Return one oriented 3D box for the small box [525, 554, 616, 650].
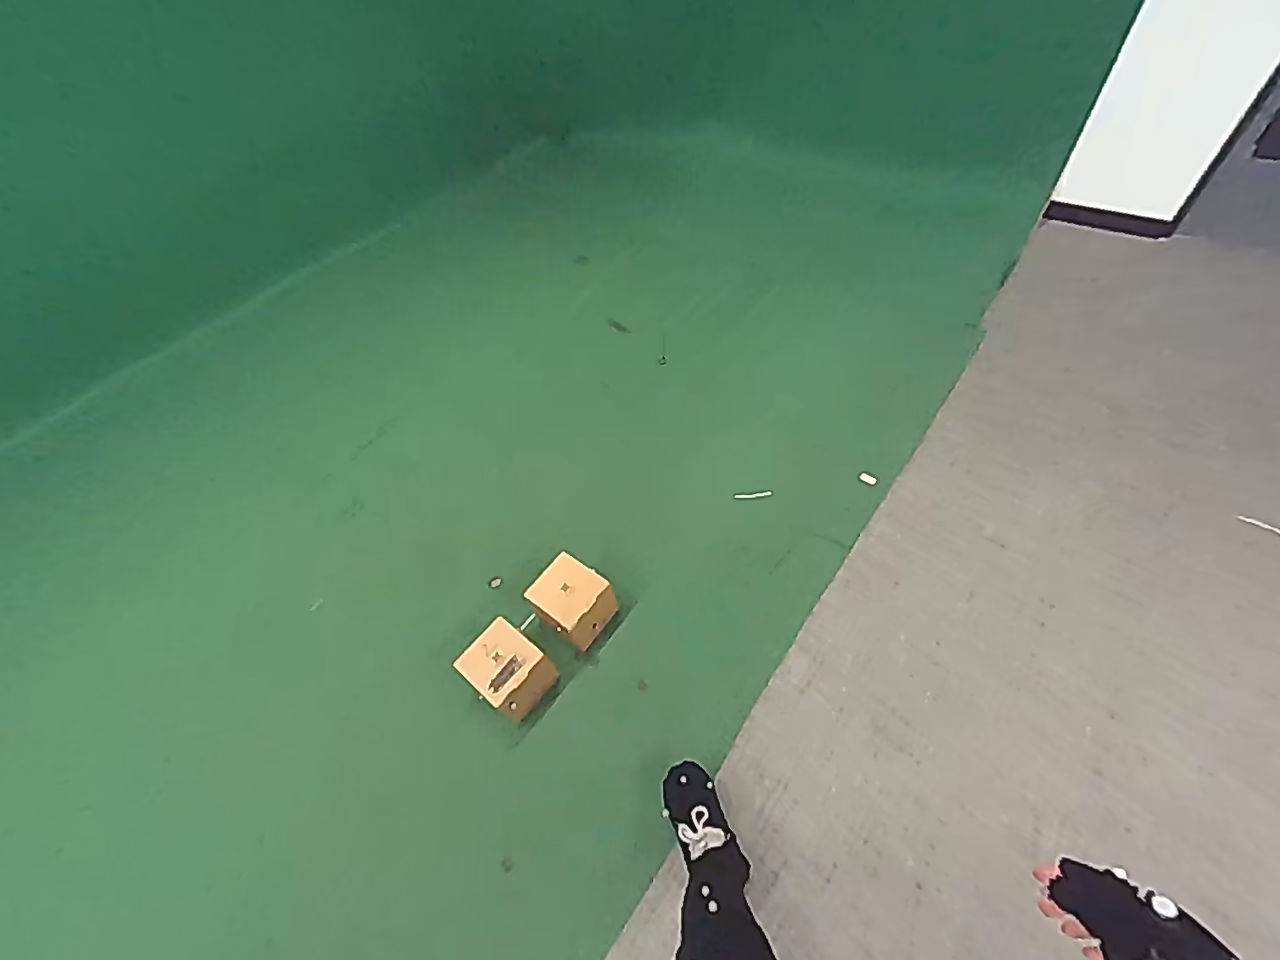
[{"bbox_3d":[-0.188,0.346,1.516,0.179,0.176,0.168,29,61,25],"label":"small box"}]
